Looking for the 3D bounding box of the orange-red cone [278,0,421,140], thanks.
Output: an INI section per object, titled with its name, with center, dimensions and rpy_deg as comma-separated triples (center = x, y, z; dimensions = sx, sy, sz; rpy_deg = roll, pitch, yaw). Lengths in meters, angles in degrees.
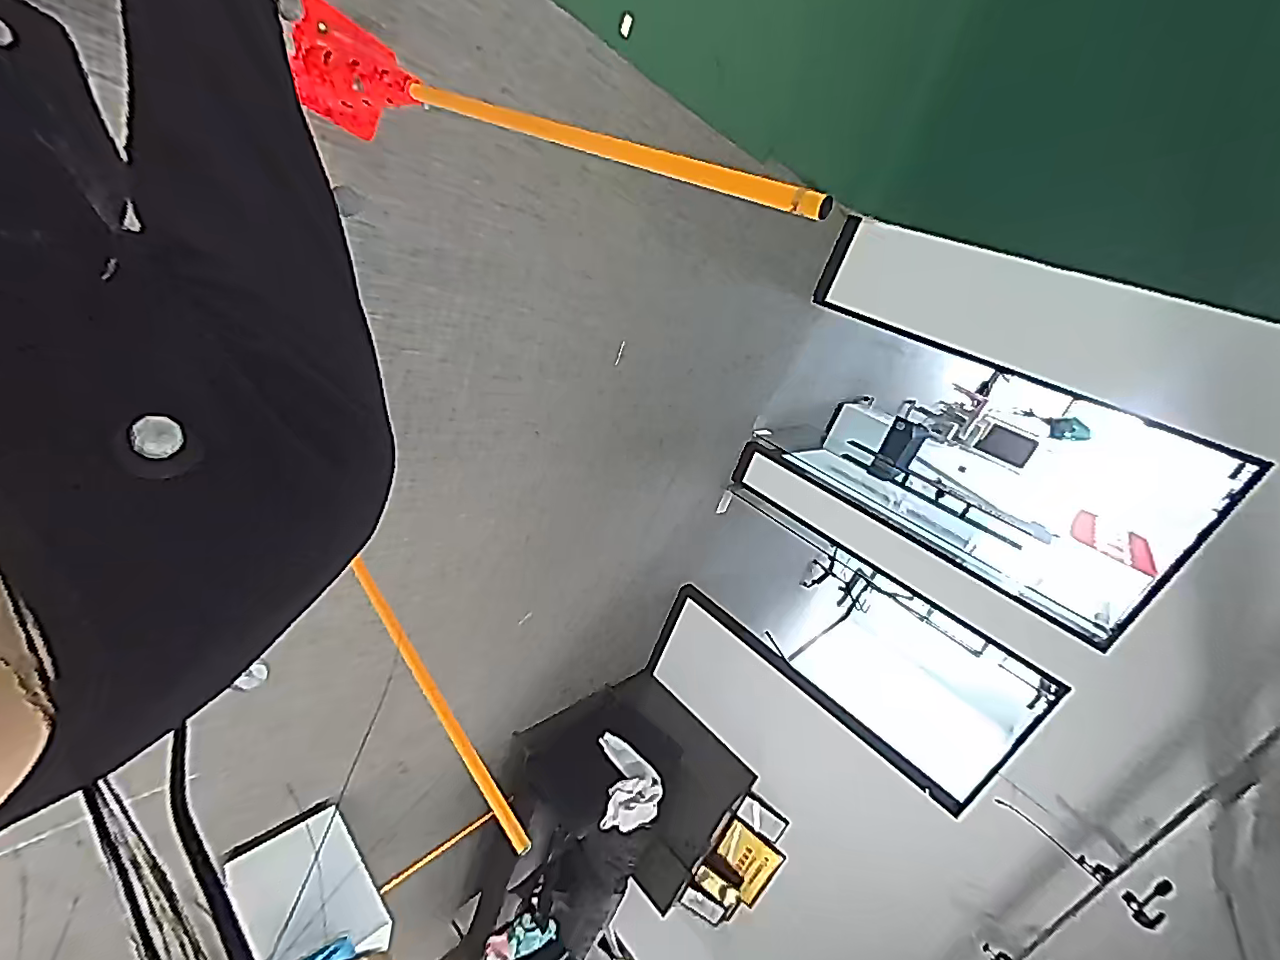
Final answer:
[orange-red cone]
center = -0.533, -0.793, 1.075
dimensions = 0.198, 0.360, 0.199
rpy_deg = 9, 113, -55
